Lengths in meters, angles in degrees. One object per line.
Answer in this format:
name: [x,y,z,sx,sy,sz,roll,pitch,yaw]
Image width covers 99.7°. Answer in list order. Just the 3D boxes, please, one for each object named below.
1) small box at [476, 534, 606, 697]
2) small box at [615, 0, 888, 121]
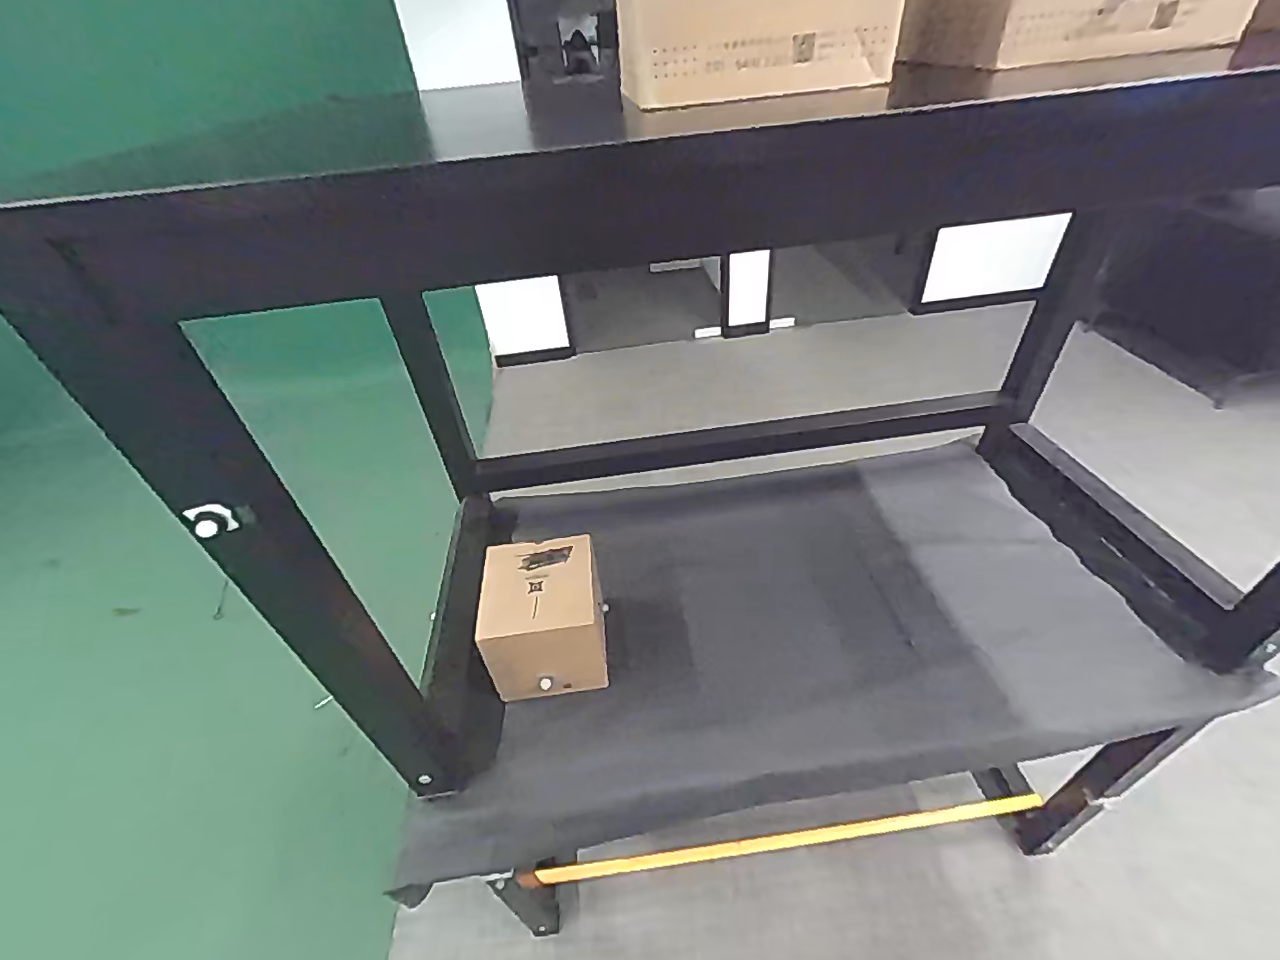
small box: [-0.147,0.212,0.854,0.168,0.176,0.179,-7,40,-2]
small box: [0.068,-0.362,0.378,0.168,0.176,0.179,-7,39,-2]
